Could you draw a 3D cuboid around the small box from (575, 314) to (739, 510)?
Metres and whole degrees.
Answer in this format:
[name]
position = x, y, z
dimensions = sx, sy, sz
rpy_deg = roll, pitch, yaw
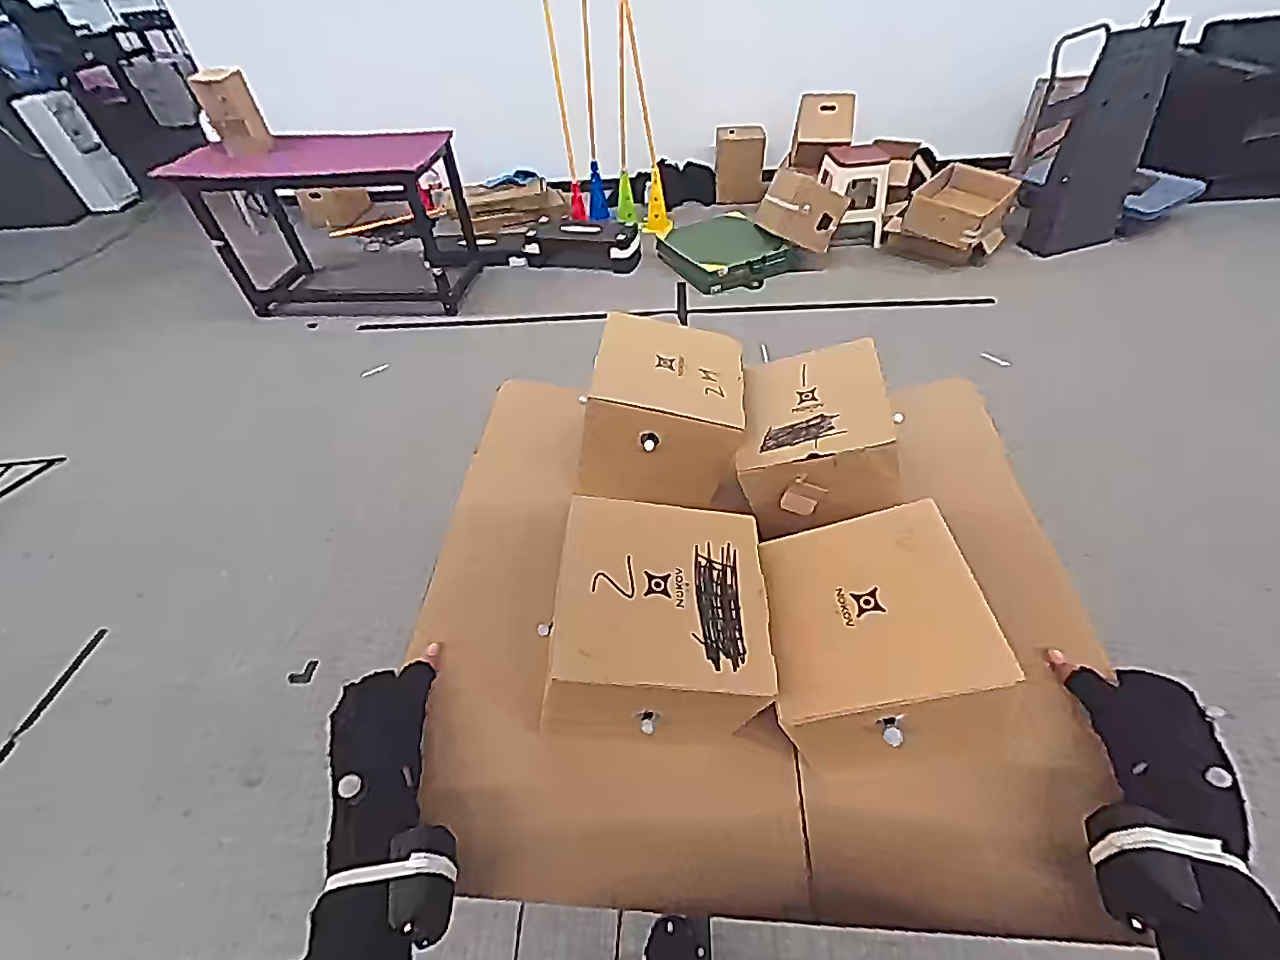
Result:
[small box]
position = 0.019, -0.081, 0.695
dimensions = 0.179, 0.176, 0.168
rpy_deg = 12, 50, -4
